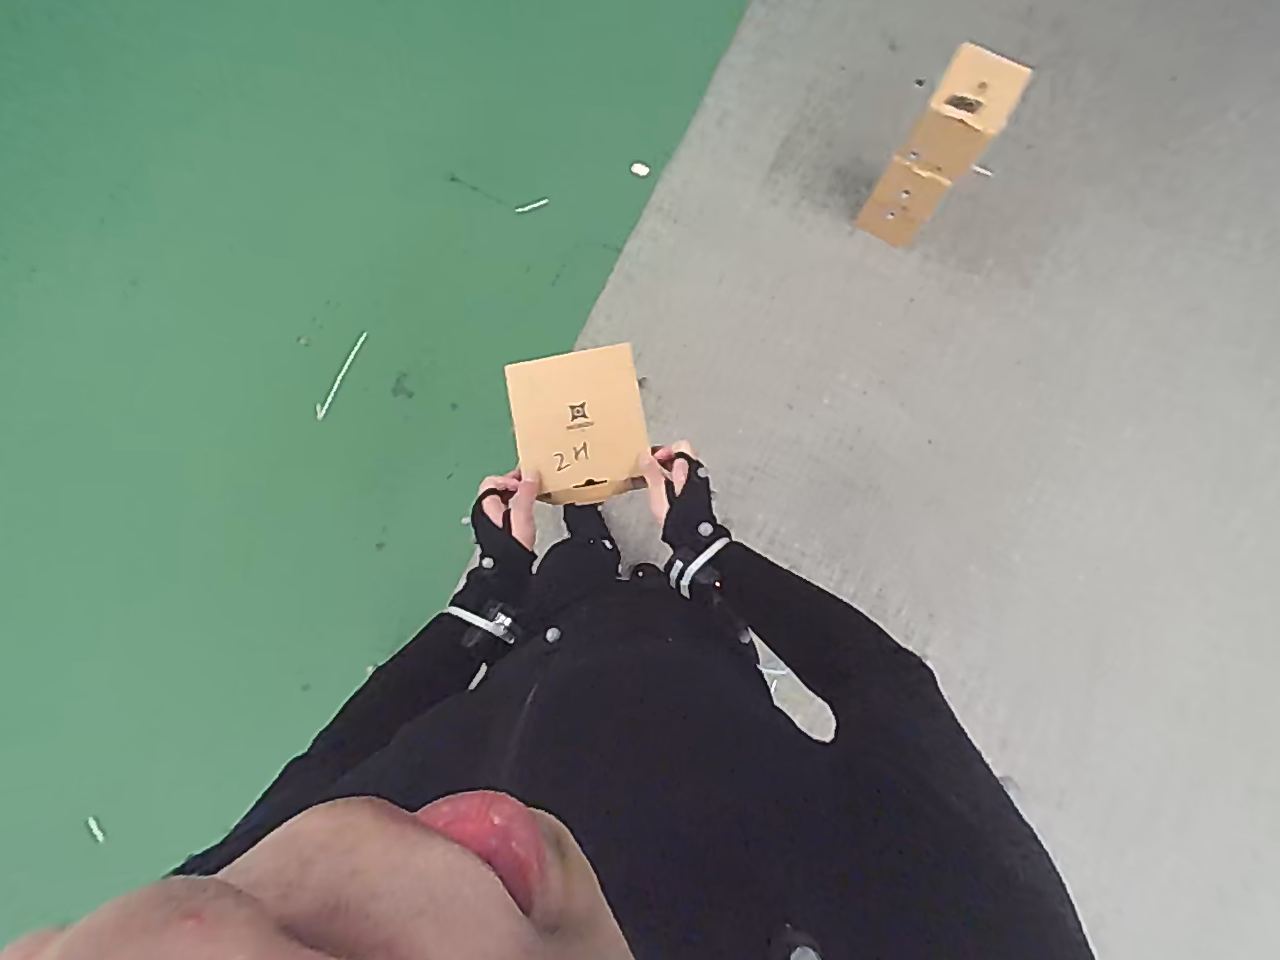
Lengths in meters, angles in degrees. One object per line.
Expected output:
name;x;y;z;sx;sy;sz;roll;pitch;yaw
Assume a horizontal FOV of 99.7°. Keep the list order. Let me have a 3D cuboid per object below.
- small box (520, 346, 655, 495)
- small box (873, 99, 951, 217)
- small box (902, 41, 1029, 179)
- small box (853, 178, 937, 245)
small box;-0.066;-0.073;0.755;0.168;0.176;0.179;-2;85;4
small box;0.744;-0.838;1.428;0.168;0.176;0.179;31;90;5
small box;0.745;-0.852;1.264;0.168;0.176;0.179;30;88;5
small box;0.762;-0.828;1.591;0.179;0.176;0.168;31;89;5
